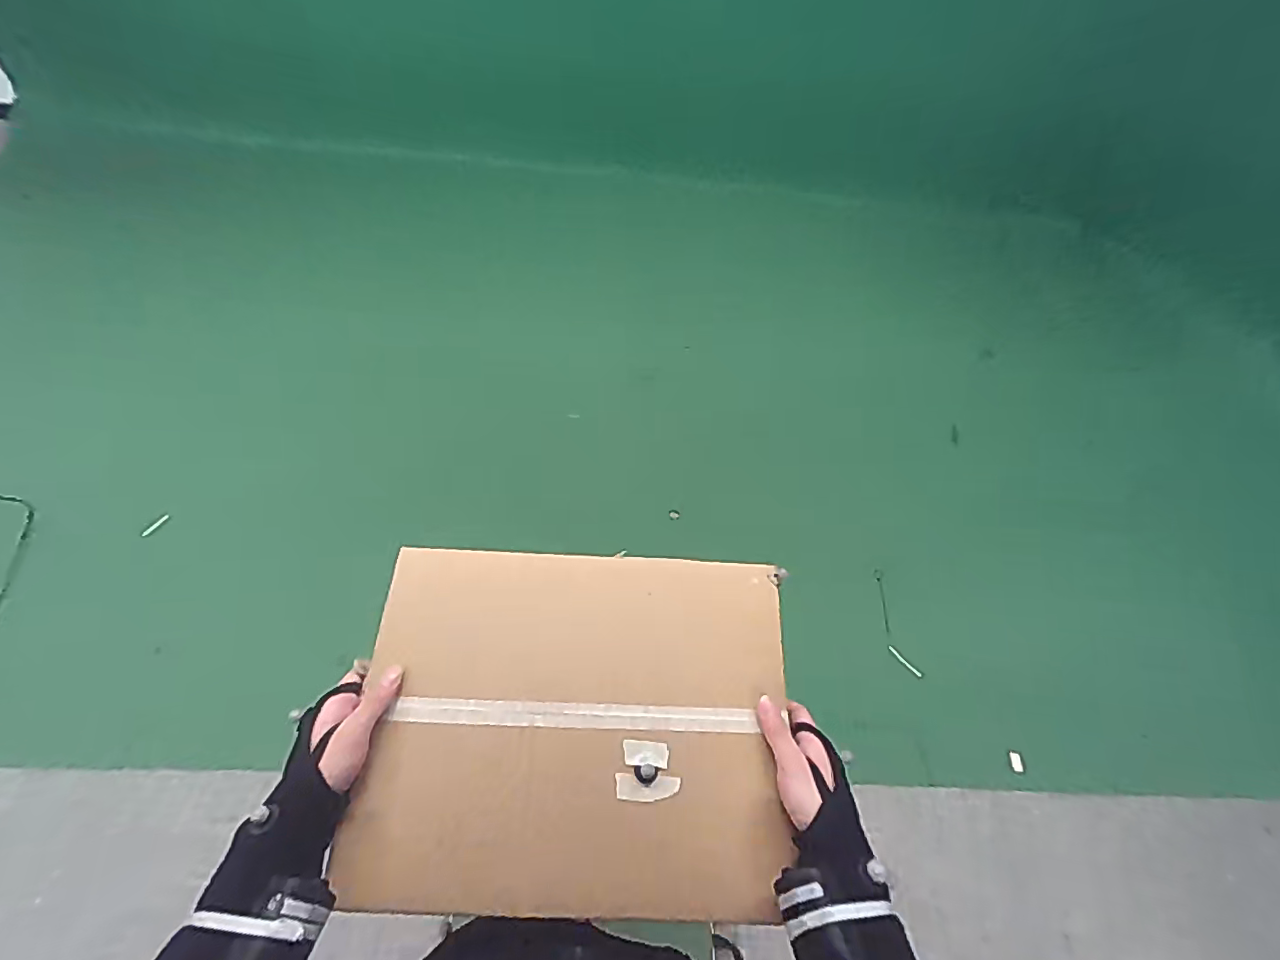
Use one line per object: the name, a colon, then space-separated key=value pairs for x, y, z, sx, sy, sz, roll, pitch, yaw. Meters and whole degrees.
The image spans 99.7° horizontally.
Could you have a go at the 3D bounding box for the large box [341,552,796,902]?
large box: x=-0.067 y=0.290 z=0.665 sx=0.408 sy=0.320 sz=0.320 roll=3 pitch=65 yaw=-2
